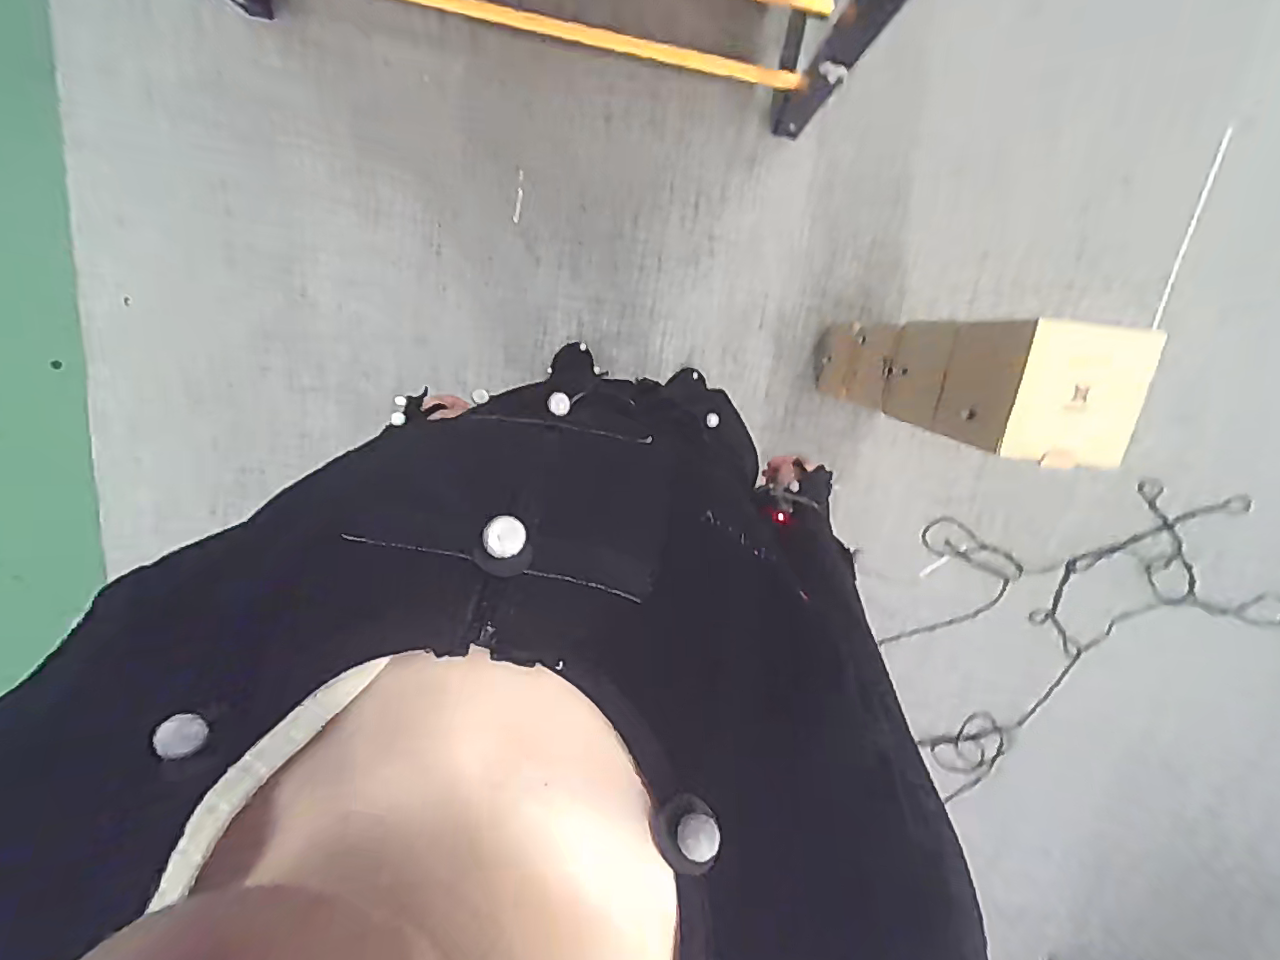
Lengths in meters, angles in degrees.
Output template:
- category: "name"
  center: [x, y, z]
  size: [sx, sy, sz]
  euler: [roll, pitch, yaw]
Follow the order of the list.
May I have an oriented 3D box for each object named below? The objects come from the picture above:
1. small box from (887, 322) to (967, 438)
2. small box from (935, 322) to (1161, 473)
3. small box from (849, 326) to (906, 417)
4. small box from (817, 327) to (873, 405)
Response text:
- category: "small box"
  center: [0.543, -0.167, 0.913]
  size: [0.168, 0.176, 0.179]
  euler: [6, 106, -2]
- category: "small box"
  center: [0.546, -0.121, 0.756]
  size: [0.168, 0.176, 0.179]
  euler: [6, 105, -2]
- category: "small box"
  center: [0.538, -0.211, 1.071]
  size: [0.179, 0.176, 0.168]
  euler: [5, 106, -3]
- category: "small box"
  center: [0.525, -0.257, 1.228]
  size: [0.179, 0.176, 0.168]
  euler: [5, 105, -1]
